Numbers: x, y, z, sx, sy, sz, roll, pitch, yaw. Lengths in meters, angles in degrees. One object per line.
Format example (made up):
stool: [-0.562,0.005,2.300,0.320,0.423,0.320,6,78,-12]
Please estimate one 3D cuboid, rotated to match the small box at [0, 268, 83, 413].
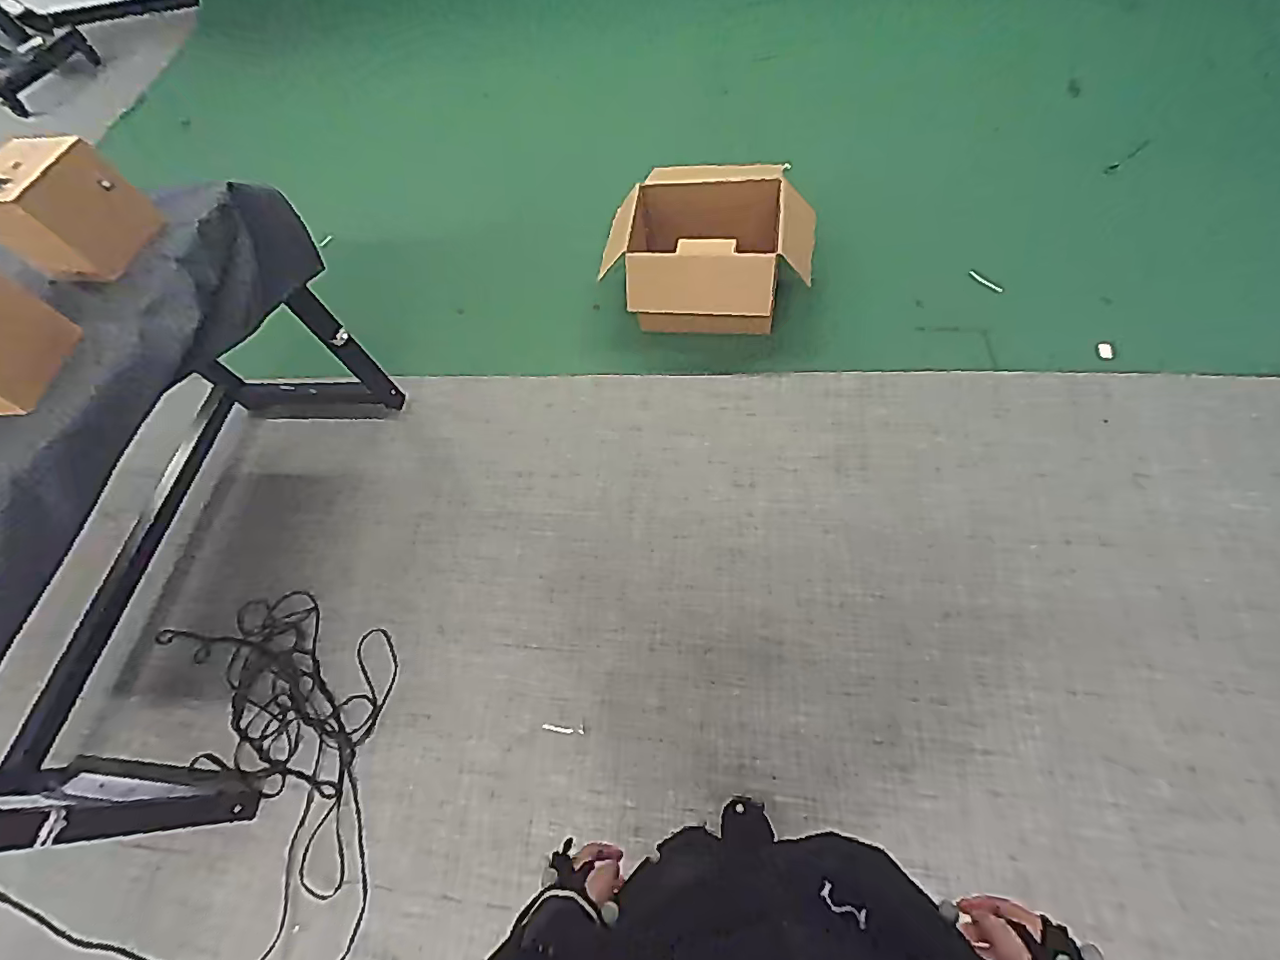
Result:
small box: [-1.060,-0.224,0.854,0.168,0.176,0.179,-1,63,9]
